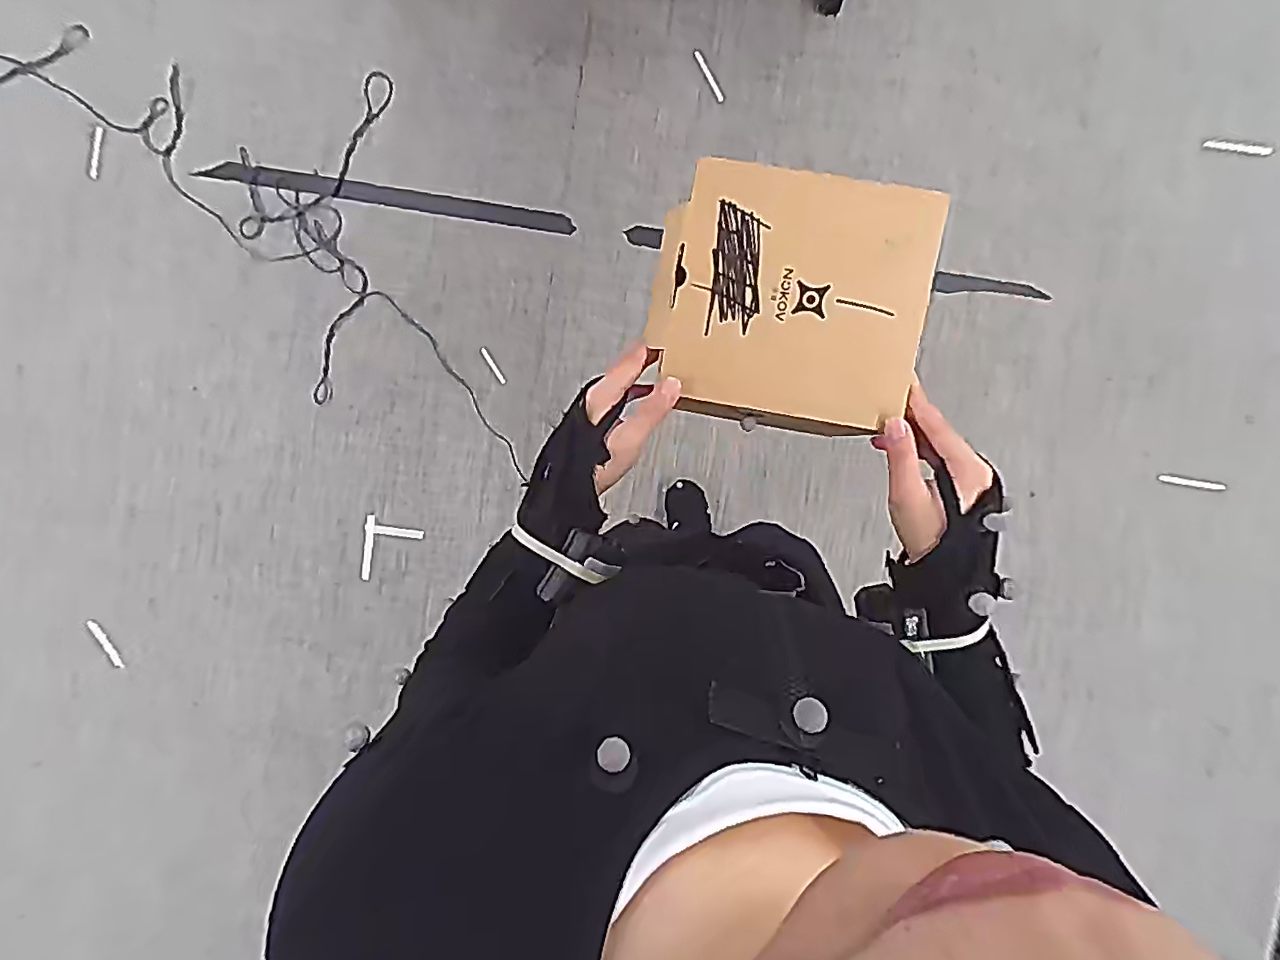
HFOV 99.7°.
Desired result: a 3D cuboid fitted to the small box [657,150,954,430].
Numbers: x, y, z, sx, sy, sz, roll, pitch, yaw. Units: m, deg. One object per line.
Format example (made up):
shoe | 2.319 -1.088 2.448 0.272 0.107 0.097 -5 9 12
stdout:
small box | 0.114 -0.135 0.447 0.179 0.176 0.168 10 95 2
